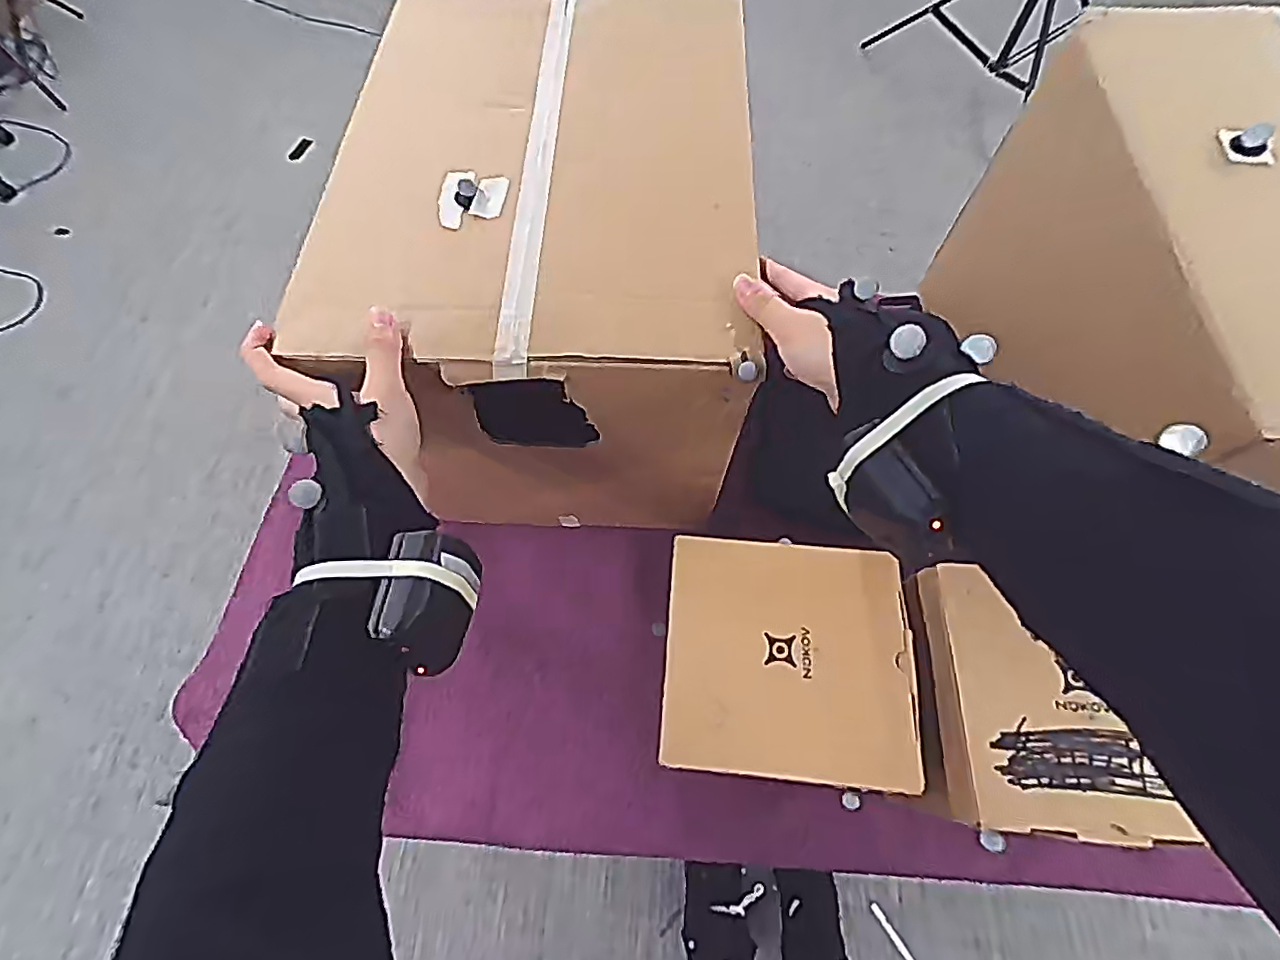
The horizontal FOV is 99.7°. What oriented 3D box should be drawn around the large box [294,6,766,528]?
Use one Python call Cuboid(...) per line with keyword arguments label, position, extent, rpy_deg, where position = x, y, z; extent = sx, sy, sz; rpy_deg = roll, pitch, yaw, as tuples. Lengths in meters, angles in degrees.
Cuboid(label="large box", position=(-0.069, -0.187, 0.557), extent=(0.320, 0.320, 0.408), rpy_deg=(1, 68, 2))
